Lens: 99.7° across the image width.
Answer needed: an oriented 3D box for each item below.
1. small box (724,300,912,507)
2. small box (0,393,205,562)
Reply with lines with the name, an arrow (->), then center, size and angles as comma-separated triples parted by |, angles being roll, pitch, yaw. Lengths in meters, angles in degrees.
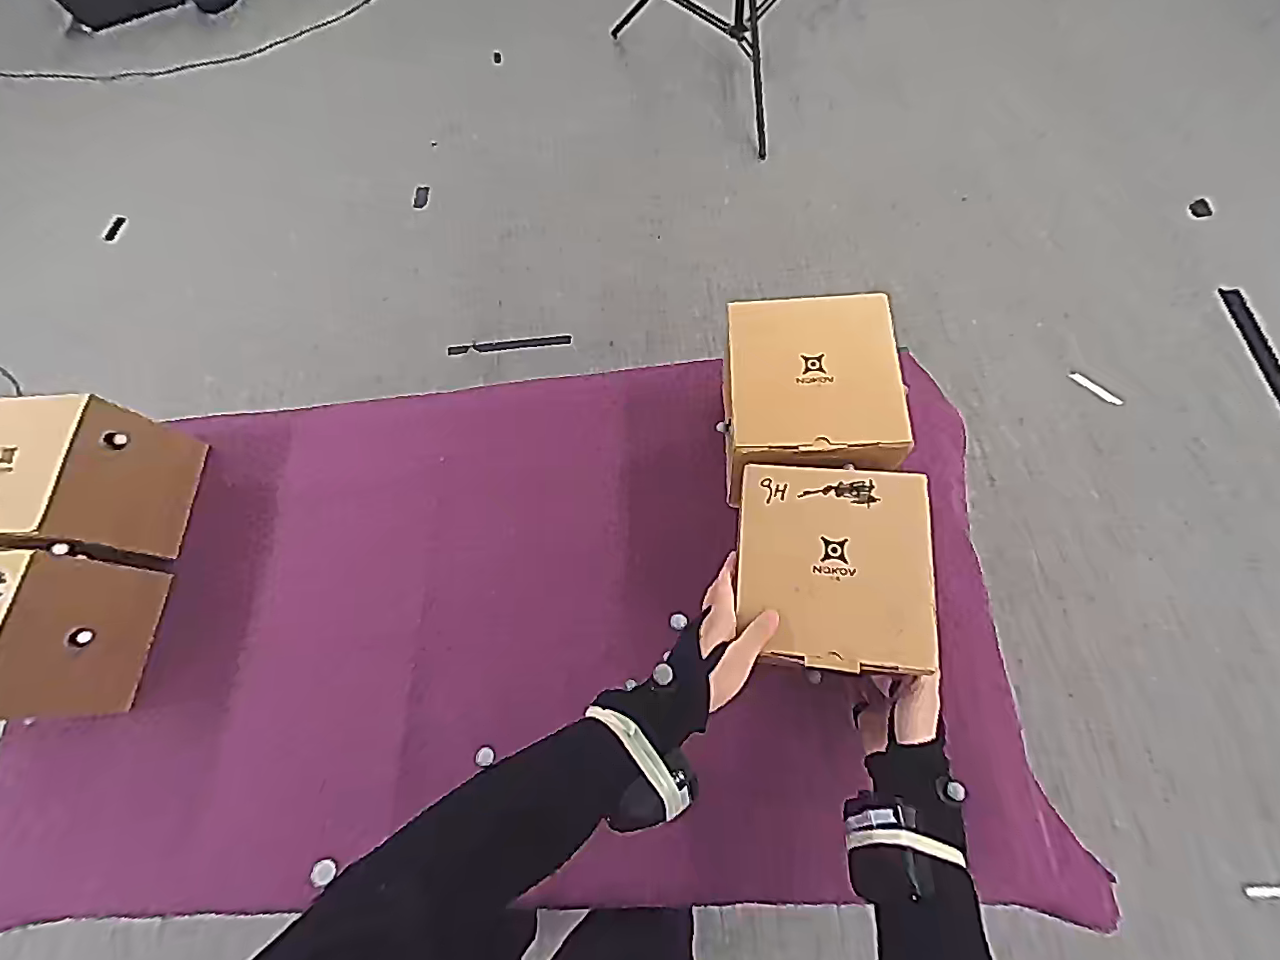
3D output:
small box -> 0.184, -0.078, 0.617 | 0.168, 0.176, 0.179 | -1, 69, 6
small box -> -0.726, 0.004, 0.708 | 0.168, 0.176, 0.179 | -1, 71, 7
